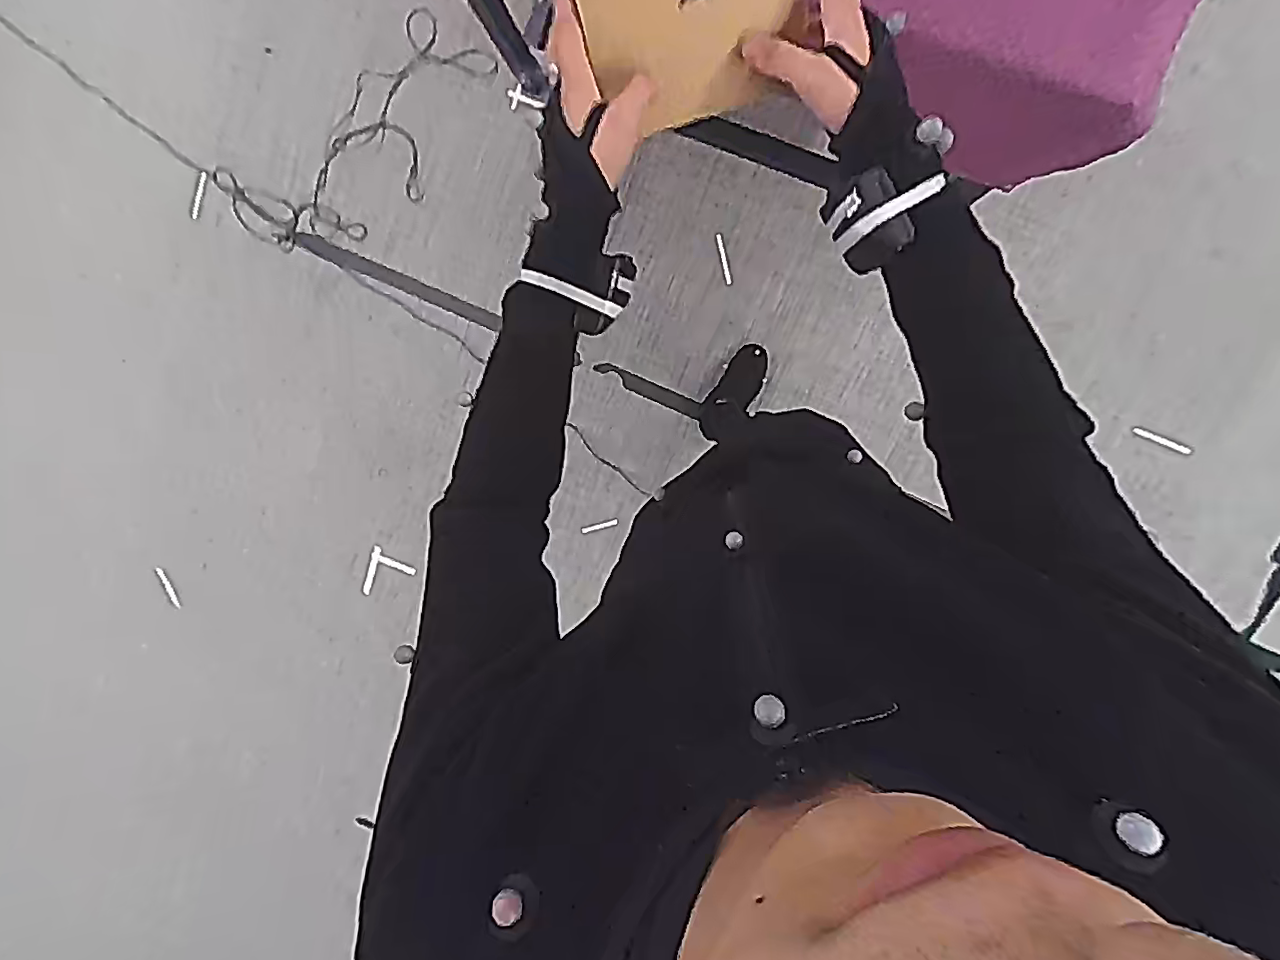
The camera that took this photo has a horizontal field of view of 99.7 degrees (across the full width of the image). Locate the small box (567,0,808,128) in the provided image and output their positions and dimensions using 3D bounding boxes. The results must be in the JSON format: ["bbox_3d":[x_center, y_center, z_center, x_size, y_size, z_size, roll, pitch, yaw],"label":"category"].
[{"bbox_3d":[0.021,-0.412,0.411,0.168,0.176,0.179,-16,138,4],"label":"small box"}]
